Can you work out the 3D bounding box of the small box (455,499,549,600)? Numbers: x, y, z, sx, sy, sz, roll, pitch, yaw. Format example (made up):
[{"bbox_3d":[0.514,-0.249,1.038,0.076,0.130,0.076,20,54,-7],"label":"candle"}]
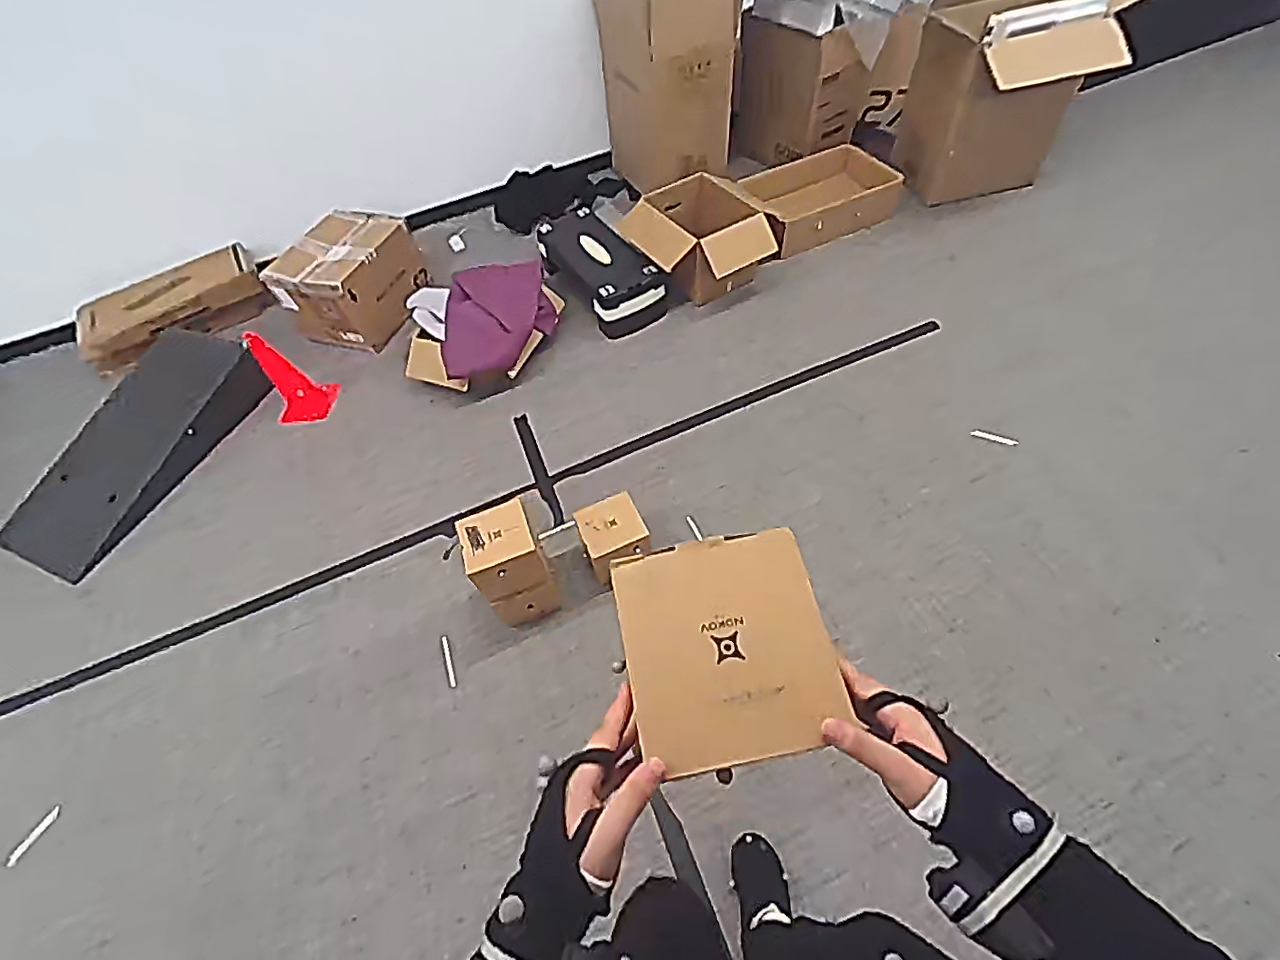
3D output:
[{"bbox_3d":[-0.355,0.185,1.400,0.179,0.176,0.168,-21,55,-8],"label":"small box"}]

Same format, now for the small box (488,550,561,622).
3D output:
[{"bbox_3d":[-0.336,0.285,1.532,0.168,0.176,0.179,-21,56,-7],"label":"small box"}]

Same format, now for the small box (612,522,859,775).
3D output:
[{"bbox_3d":[0.069,0.161,0.502,0.168,0.176,0.179,-10,64,-3],"label":"small box"}]

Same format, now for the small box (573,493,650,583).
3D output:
[{"bbox_3d":[-0.077,0.172,1.578,0.179,0.176,0.168,-23,56,-9],"label":"small box"}]
